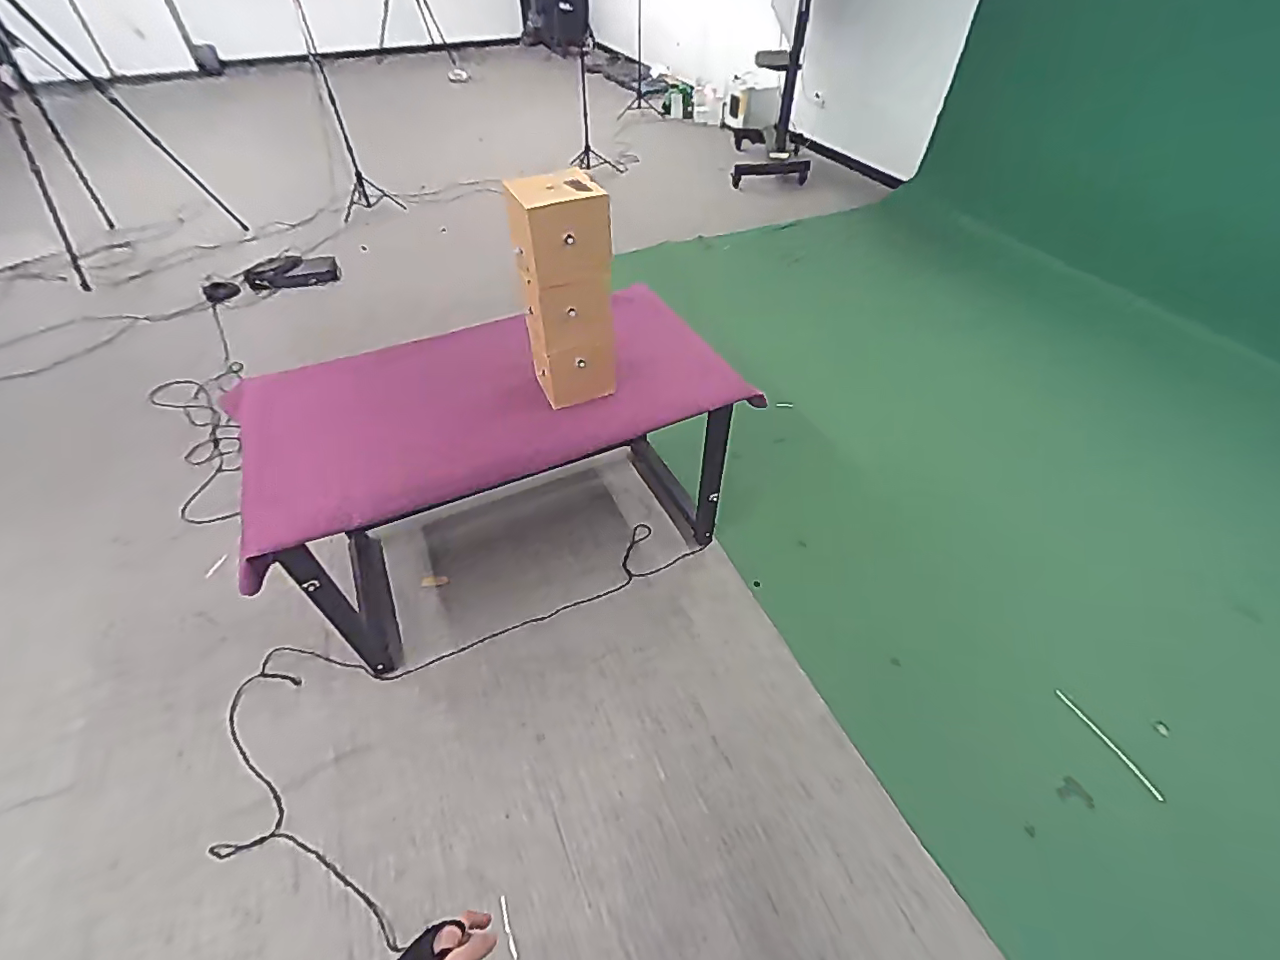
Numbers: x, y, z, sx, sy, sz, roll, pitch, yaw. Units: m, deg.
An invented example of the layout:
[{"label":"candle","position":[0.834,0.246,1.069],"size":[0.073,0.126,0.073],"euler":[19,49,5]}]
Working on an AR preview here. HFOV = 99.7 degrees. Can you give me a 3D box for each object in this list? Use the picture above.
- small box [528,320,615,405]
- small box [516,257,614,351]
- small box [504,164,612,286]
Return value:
[{"label":"small box","position":[-0.170,-0.315,1.383],"size":[0.179,0.176,0.168],"euler":[-18,51,-16]},{"label":"small box","position":[-0.170,-0.426,1.263],"size":[0.179,0.176,0.168],"euler":[-20,52,-16]},{"label":"small box","position":[-0.169,-0.538,1.142],"size":[0.179,0.176,0.168],"euler":[-20,52,-17]}]
